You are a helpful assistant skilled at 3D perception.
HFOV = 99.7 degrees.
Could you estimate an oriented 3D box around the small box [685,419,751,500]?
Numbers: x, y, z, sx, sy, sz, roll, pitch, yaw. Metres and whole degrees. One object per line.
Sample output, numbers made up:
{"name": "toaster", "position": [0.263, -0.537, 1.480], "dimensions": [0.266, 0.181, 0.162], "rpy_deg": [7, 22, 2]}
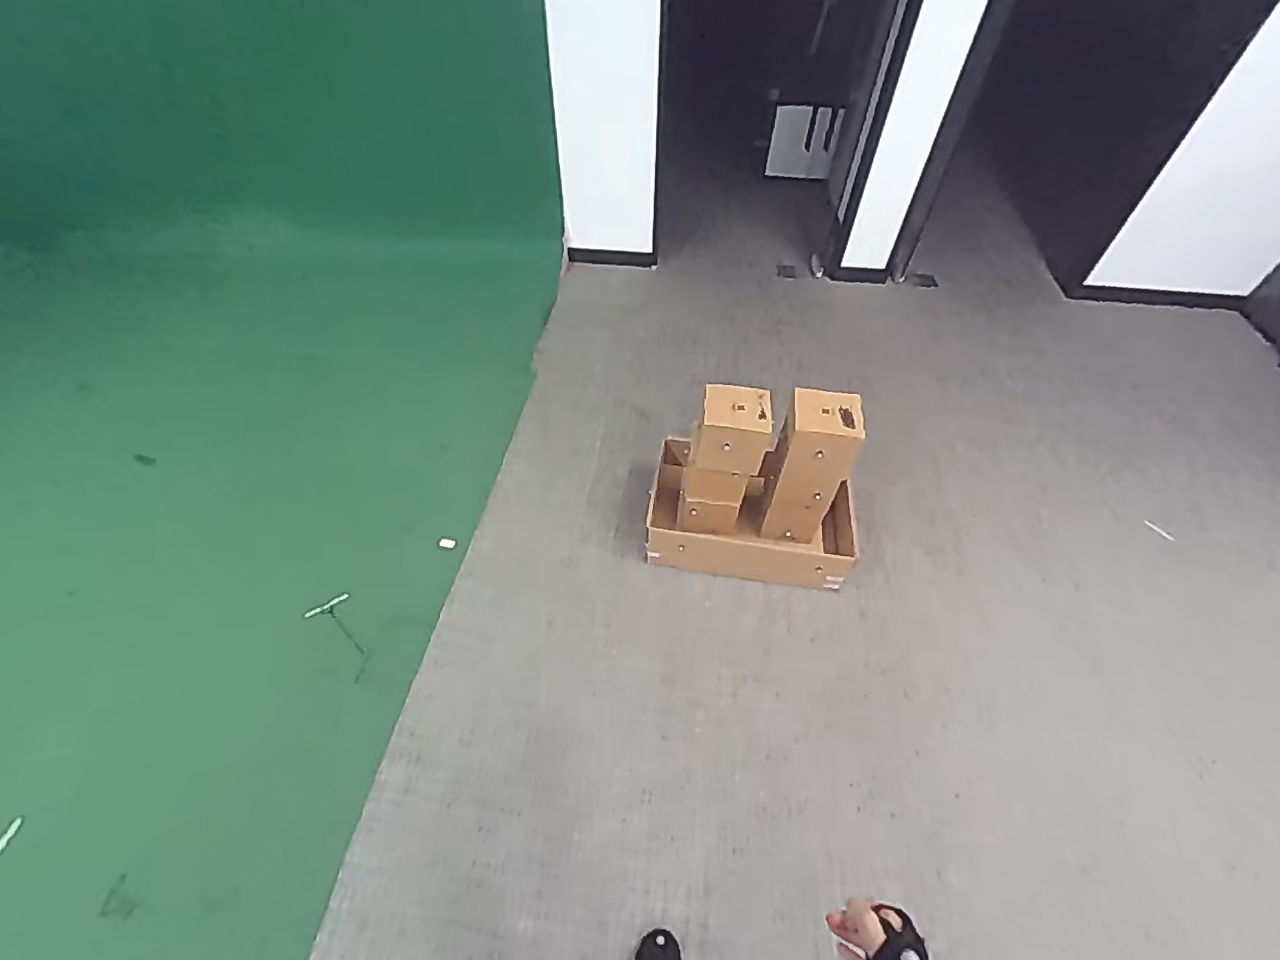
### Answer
{"name": "small box", "position": [0.230, -0.059, 1.612], "dimensions": [0.179, 0.176, 0.168], "rpy_deg": [7, 51, 3]}

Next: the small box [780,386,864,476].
{"name": "small box", "position": [0.487, -0.129, 1.460], "dimensions": [0.179, 0.176, 0.168], "rpy_deg": [8, 51, 7]}

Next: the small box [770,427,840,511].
{"name": "small box", "position": [0.481, -0.029, 1.590], "dimensions": [0.168, 0.176, 0.179], "rpy_deg": [8, 51, 6]}
